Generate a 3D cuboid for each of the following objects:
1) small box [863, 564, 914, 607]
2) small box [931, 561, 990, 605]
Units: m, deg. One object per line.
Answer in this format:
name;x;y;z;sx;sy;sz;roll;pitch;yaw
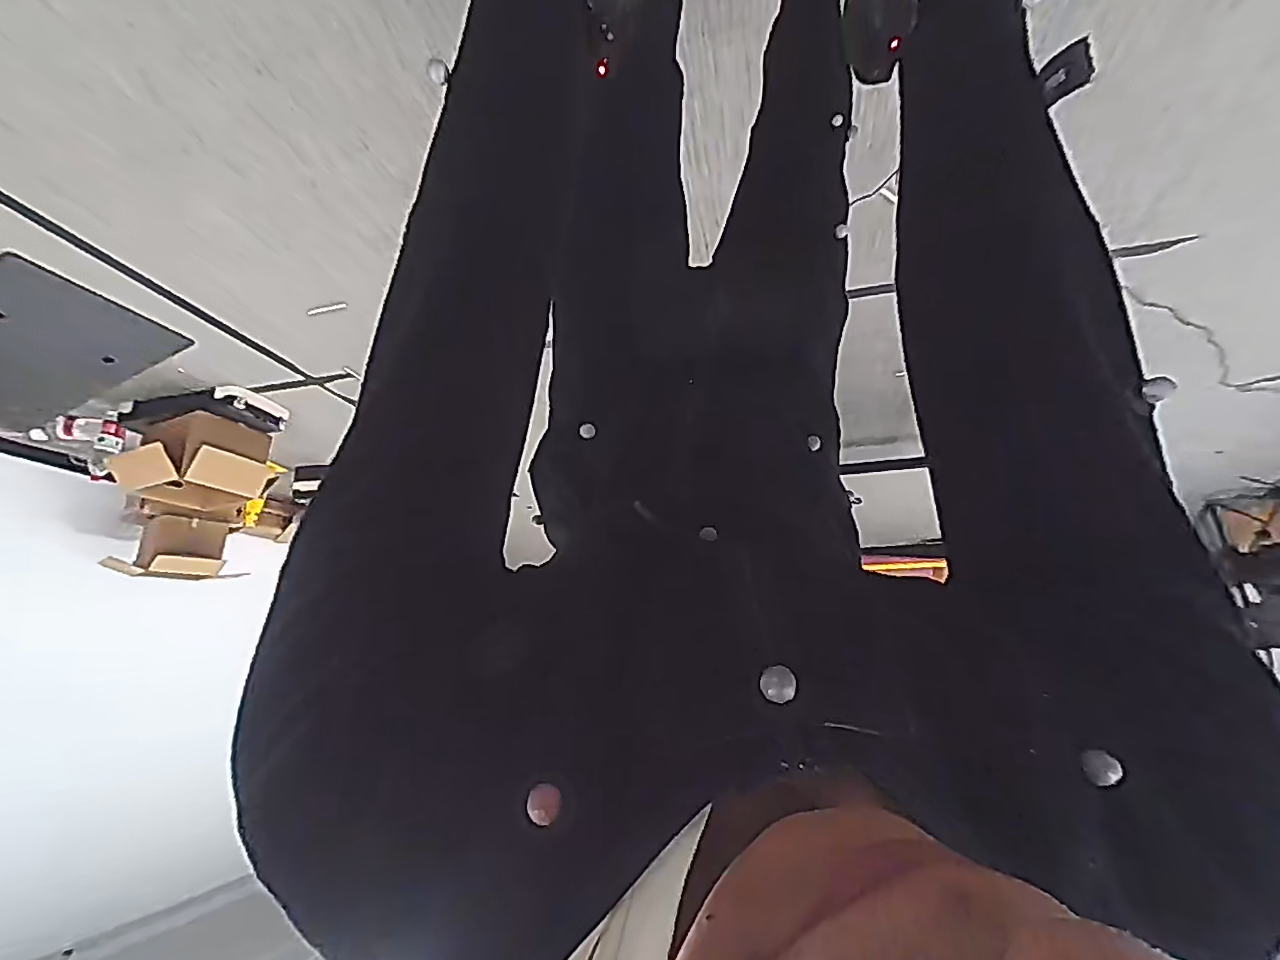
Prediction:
small box;1.118;0.480;2.447;0.179;0.176;0.168;-5;161;14
small box;1.405;0.456;2.384;0.179;0.176;0.168;-3;162;14
